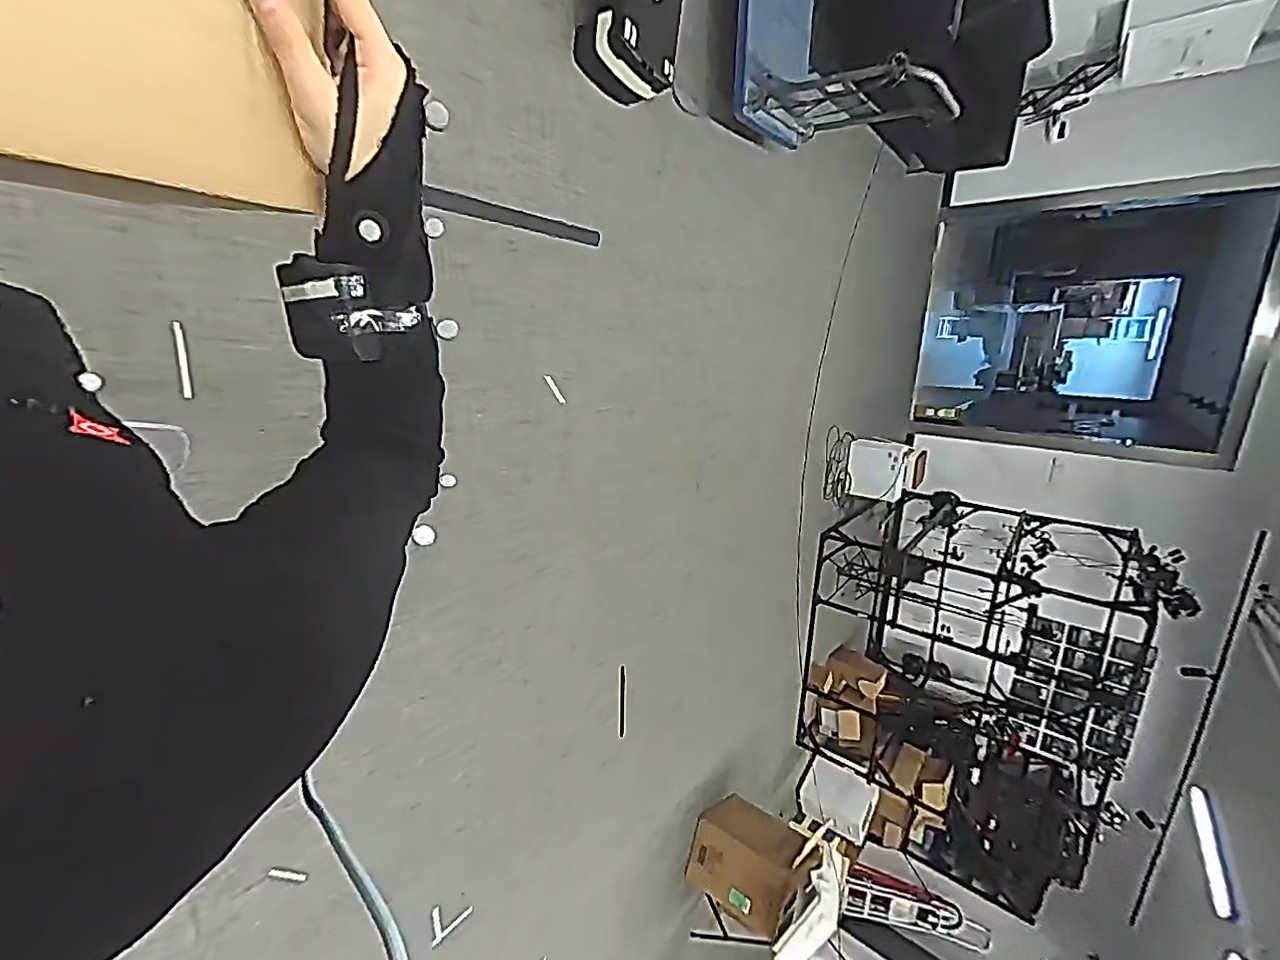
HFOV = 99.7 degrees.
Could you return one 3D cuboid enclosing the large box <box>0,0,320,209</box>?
[{"bbox_3d":[-0.418,-0.314,0.211,0.408,0.320,0.320,-19,123,-53],"label":"large box"}]
